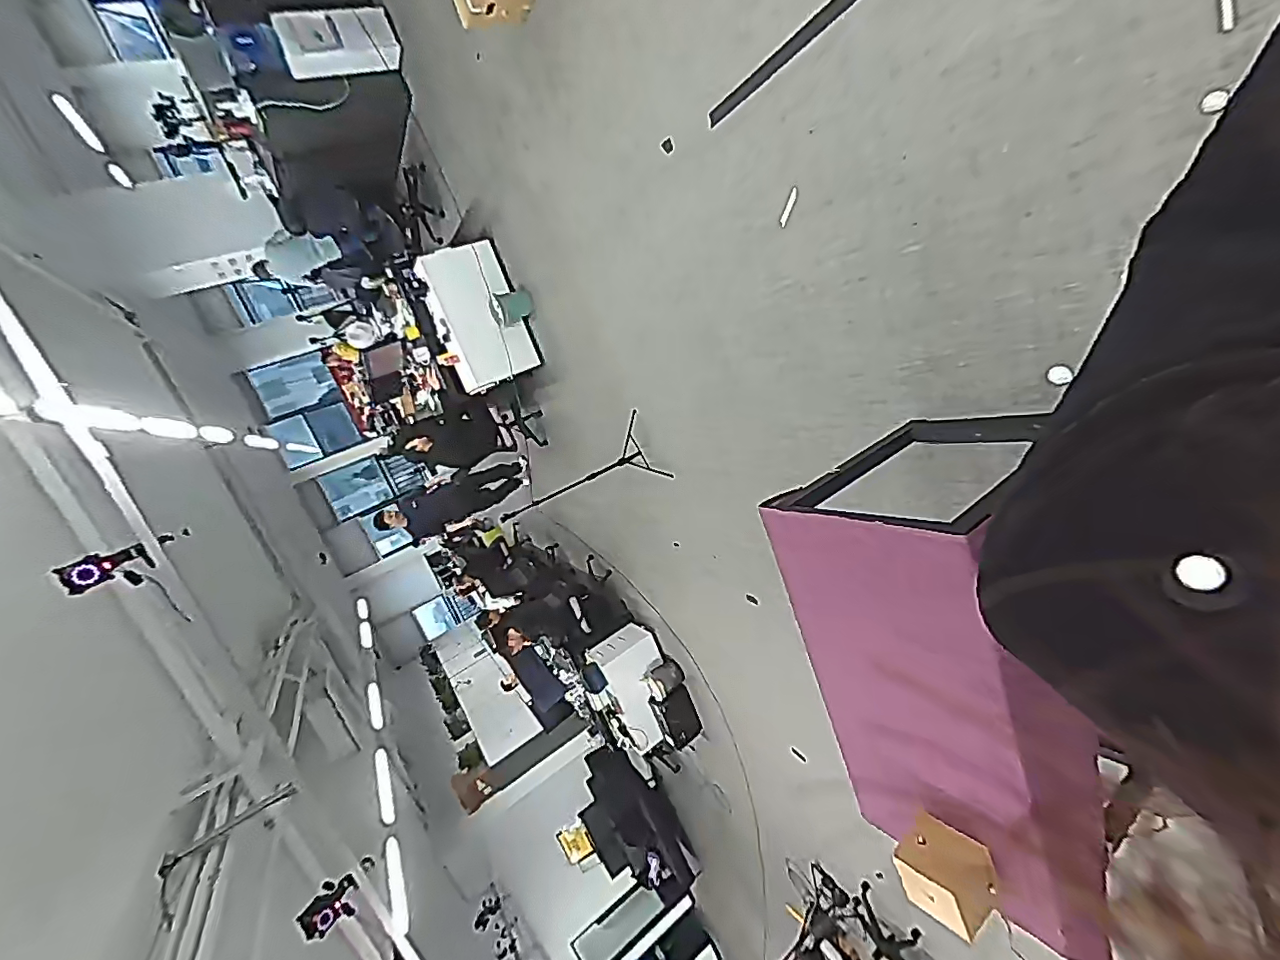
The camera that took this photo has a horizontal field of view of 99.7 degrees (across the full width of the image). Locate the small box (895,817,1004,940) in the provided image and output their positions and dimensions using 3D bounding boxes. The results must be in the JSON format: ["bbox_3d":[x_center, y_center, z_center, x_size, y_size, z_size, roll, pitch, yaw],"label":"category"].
[{"bbox_3d":[0.833,1.057,1.456,0.179,0.176,0.168,-2,114,63],"label":"small box"}]
